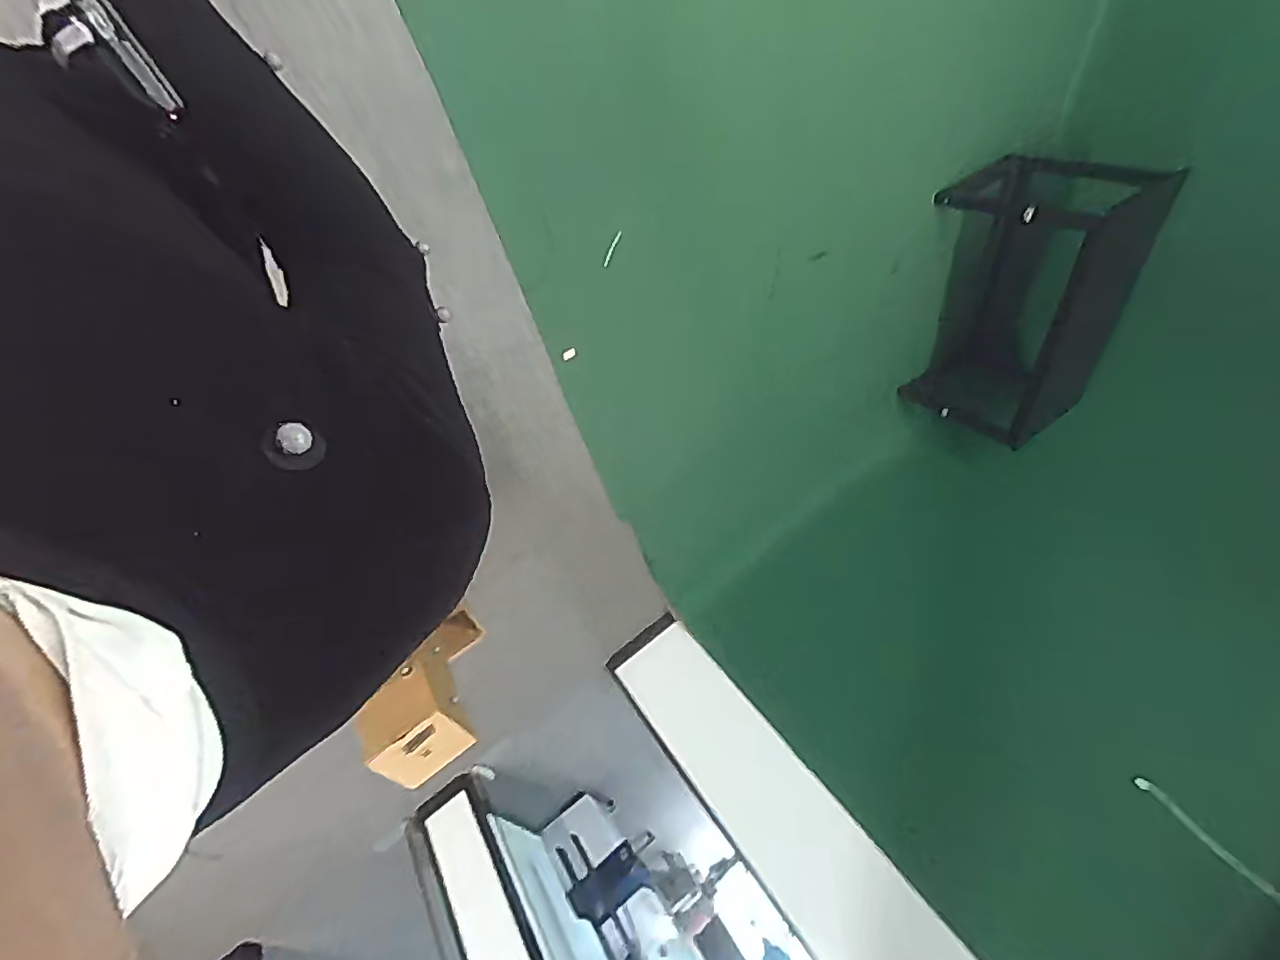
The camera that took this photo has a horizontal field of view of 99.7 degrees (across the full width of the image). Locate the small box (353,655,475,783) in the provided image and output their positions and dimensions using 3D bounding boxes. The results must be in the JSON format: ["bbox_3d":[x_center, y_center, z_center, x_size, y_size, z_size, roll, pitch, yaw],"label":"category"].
[{"bbox_3d":[-0.498,0.516,1.186,0.168,0.176,0.179,-34,135,-13],"label":"small box"}]
